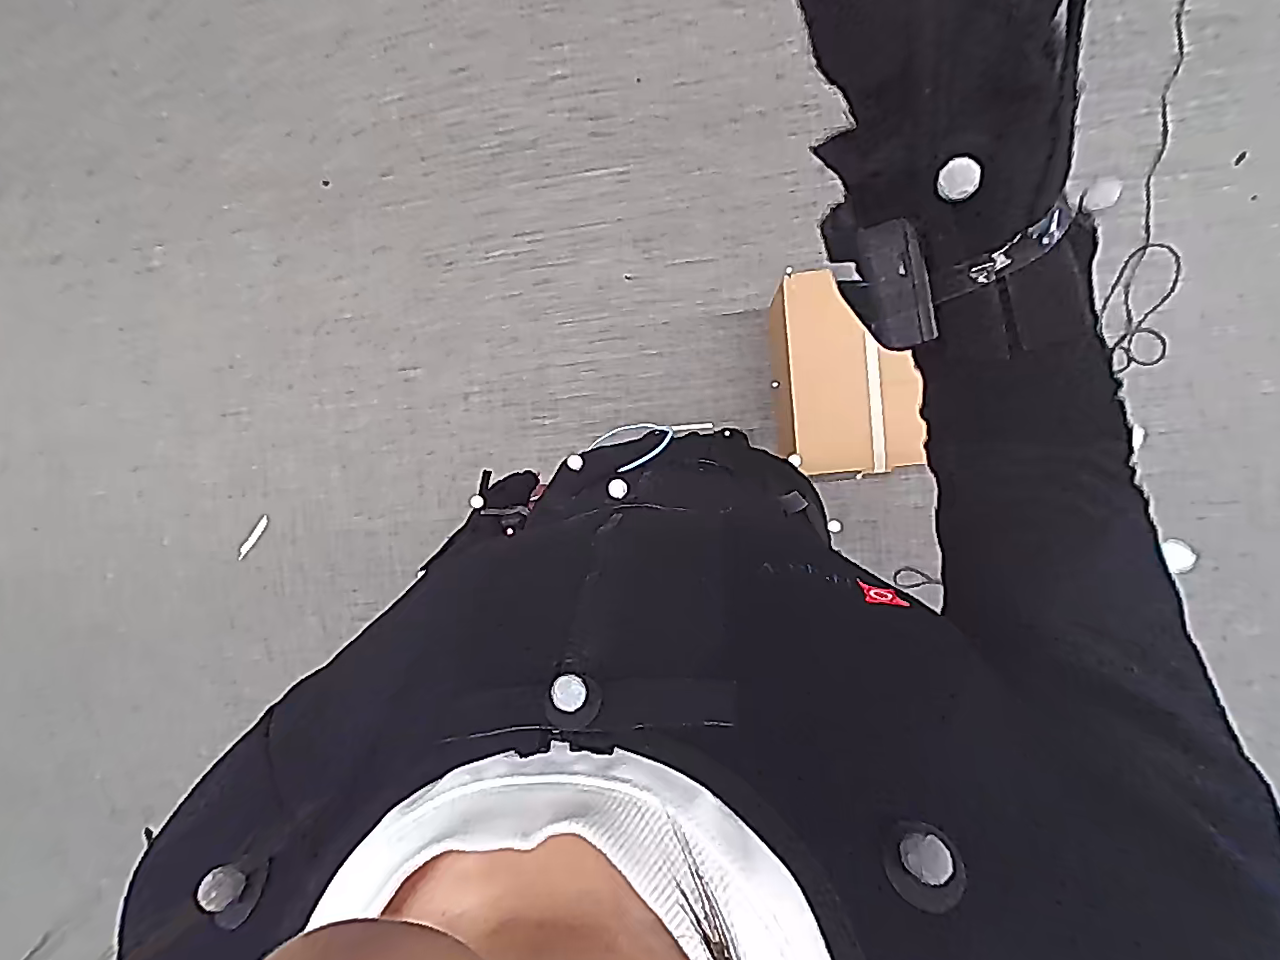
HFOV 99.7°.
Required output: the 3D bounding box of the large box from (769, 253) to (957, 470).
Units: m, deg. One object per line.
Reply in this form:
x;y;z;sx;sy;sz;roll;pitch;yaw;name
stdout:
0.480;-0.243;1.234;0.320;0.320;0.408;-6;94;7;large box
